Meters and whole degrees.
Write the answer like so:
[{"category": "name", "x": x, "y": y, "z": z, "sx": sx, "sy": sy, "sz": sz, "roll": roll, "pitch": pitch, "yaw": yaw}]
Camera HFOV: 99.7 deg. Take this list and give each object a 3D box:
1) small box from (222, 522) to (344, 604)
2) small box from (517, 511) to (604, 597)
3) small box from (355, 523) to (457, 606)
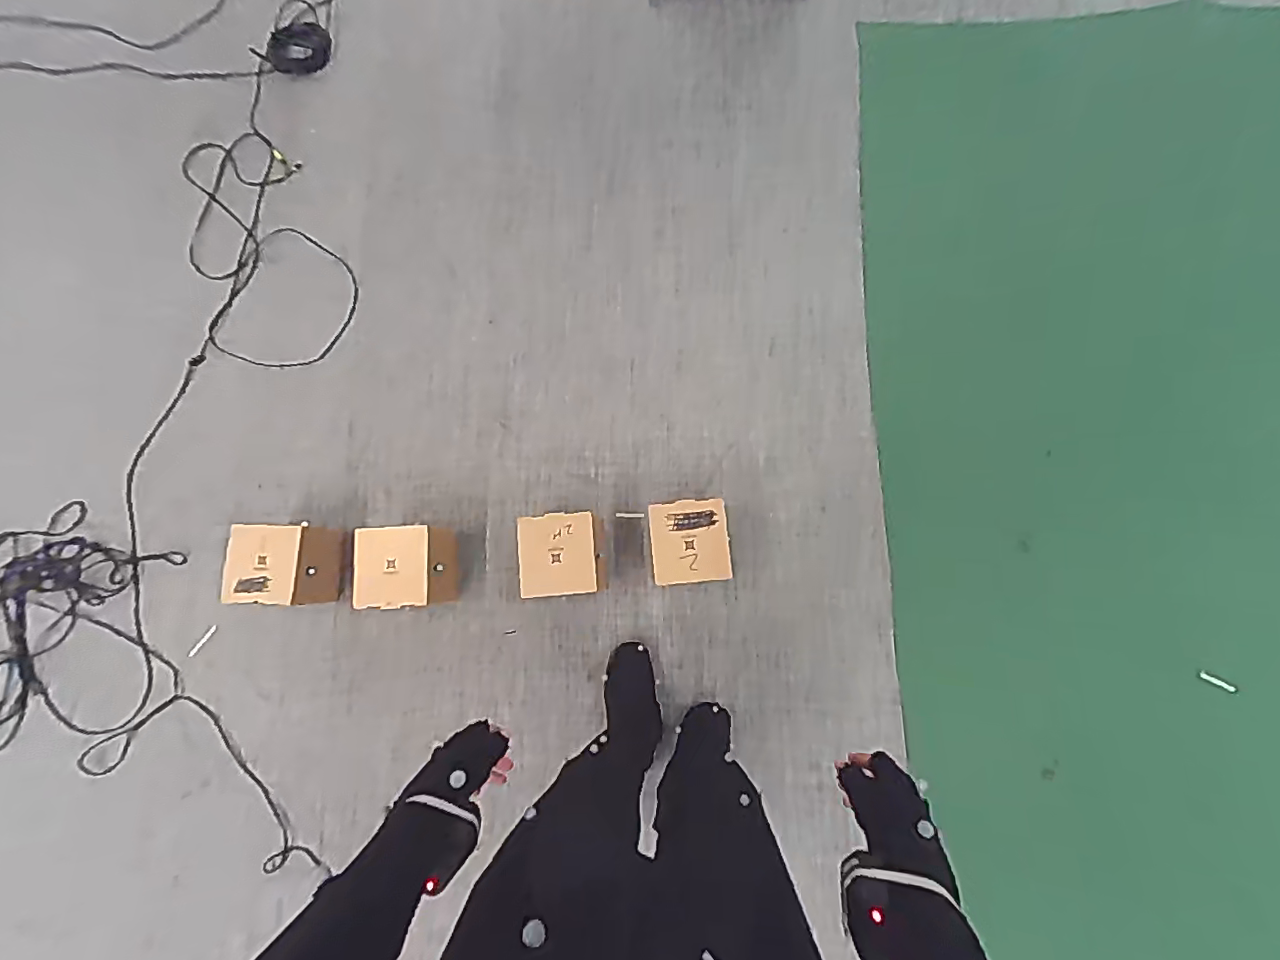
[{"category": "small box", "x": -0.826, "y": 0.195, "z": 1.270, "sx": 0.168, "sy": 0.176, "sz": 0.179, "roll": 1, "pitch": 80, "yaw": 3}, {"category": "small box", "x": -0.177, "y": 0.170, "z": 1.242, "sx": 0.168, "sy": 0.176, "sz": 0.179, "roll": -5, "pitch": 81, "yaw": 1}, {"category": "small box", "x": -0.536, "y": 0.197, "z": 1.257, "sx": 0.168, "sy": 0.176, "sz": 0.179, "roll": -4, "pitch": 81, "yaw": 2}]
